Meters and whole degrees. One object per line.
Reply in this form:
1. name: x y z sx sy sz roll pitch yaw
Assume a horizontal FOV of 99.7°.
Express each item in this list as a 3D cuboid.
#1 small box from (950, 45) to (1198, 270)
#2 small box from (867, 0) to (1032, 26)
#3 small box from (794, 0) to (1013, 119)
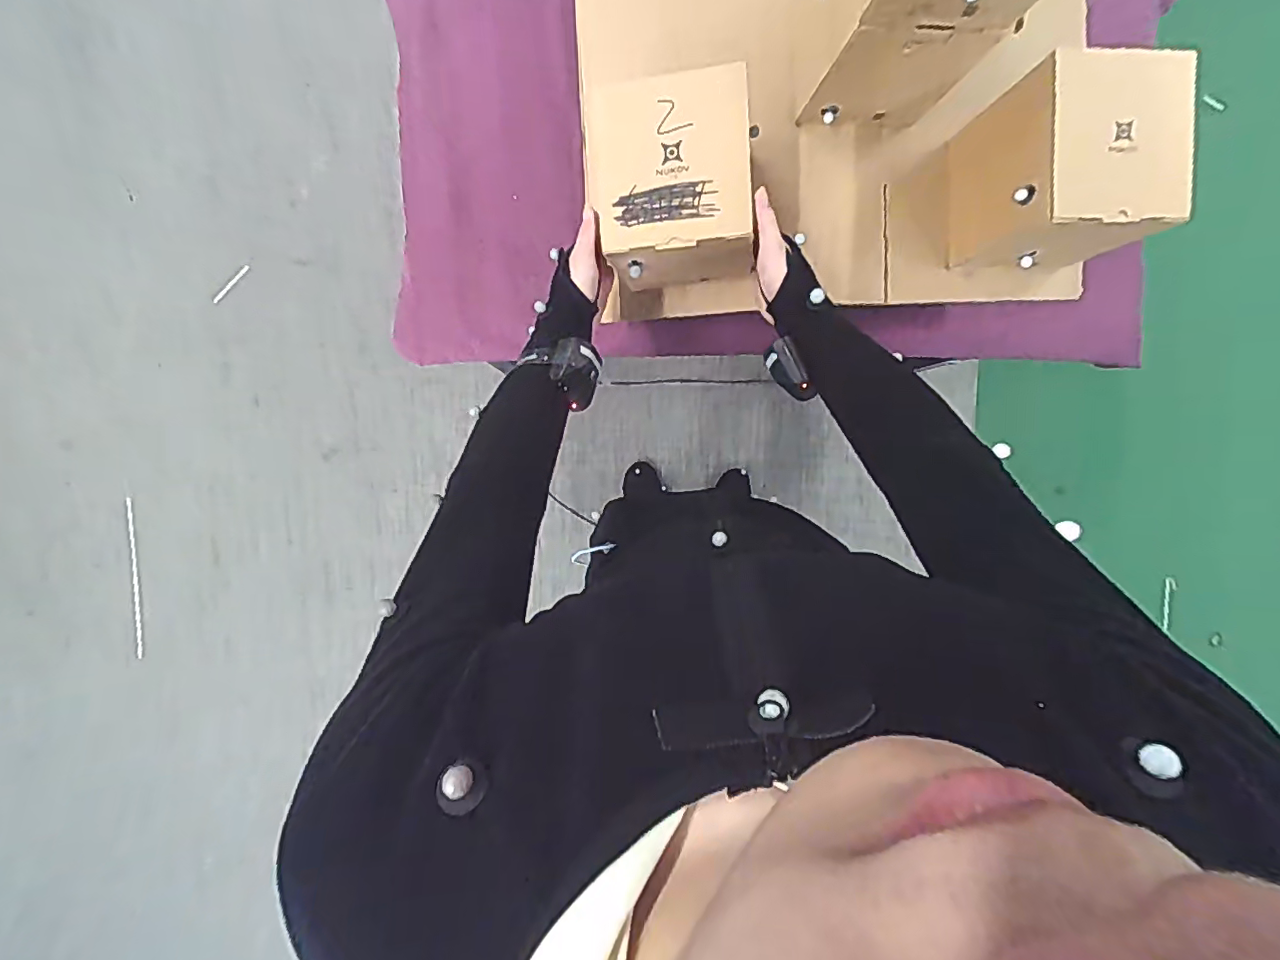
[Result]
1. small box: 0.499 -0.367 0.645 0.168 0.176 0.179 -3 95 -6
2. small box: 0.298 -0.531 0.445 0.168 0.176 0.179 -3 95 -5
3. small box: 0.282 -0.540 0.608 0.168 0.176 0.179 -3 94 -6
